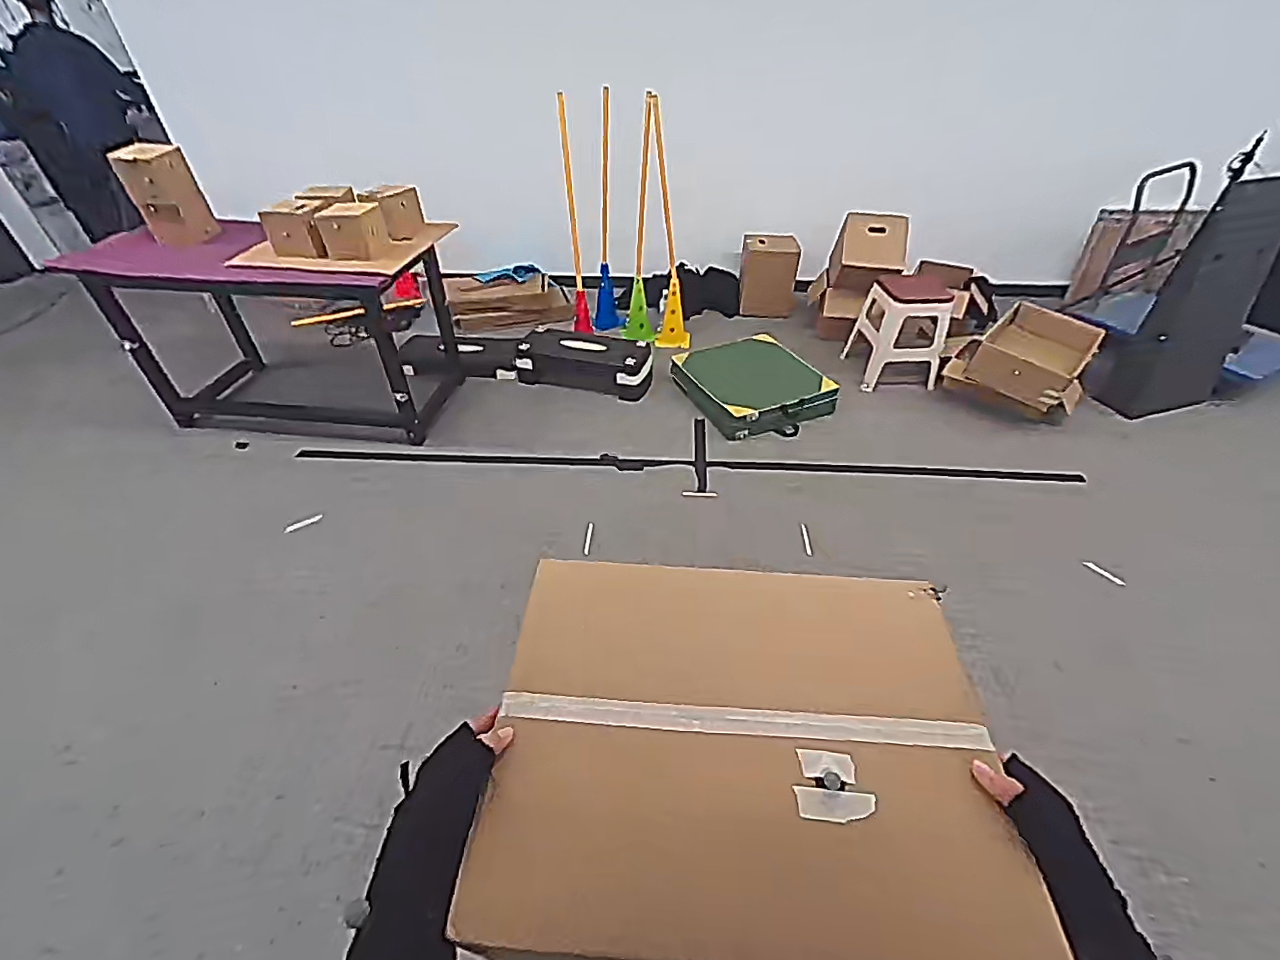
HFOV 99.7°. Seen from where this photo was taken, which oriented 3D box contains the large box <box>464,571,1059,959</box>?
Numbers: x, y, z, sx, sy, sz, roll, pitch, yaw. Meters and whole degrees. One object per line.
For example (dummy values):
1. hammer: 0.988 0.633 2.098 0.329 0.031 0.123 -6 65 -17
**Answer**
1. large box: 0.084 0.318 0.563 0.408 0.320 0.320 3 45 3
